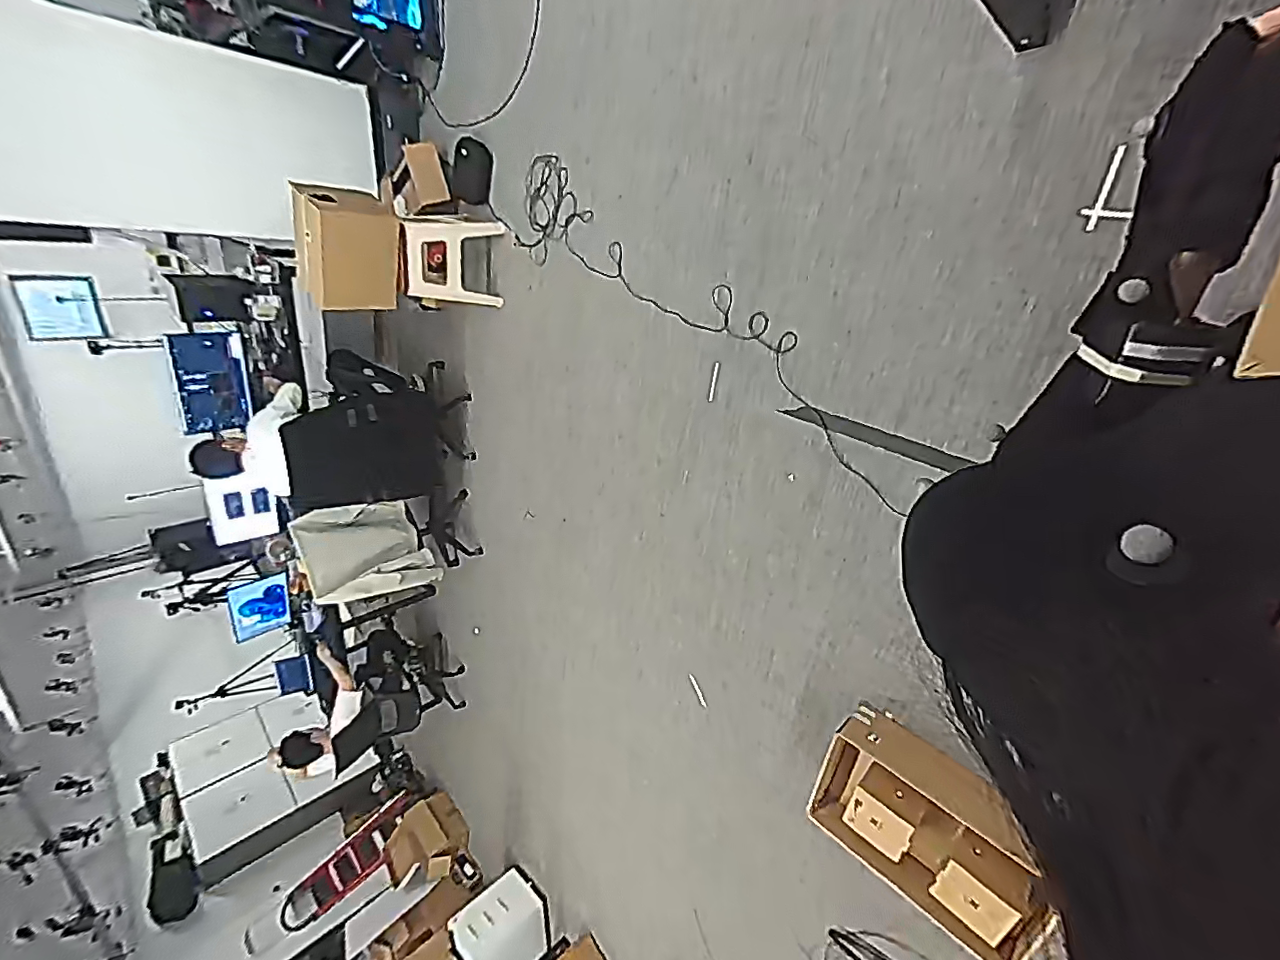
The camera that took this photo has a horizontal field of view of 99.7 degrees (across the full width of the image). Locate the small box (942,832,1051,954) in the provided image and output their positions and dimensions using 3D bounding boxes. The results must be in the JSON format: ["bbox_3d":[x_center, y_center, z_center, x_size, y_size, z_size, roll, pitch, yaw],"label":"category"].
[{"bbox_3d":[0.964,1.100,1.461,0.179,0.176,0.168,31,124,37],"label":"small box"}]

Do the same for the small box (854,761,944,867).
[{"bbox_3d":[0.779,0.991,1.621,0.179,0.176,0.168,27,120,36],"label":"small box"}]
